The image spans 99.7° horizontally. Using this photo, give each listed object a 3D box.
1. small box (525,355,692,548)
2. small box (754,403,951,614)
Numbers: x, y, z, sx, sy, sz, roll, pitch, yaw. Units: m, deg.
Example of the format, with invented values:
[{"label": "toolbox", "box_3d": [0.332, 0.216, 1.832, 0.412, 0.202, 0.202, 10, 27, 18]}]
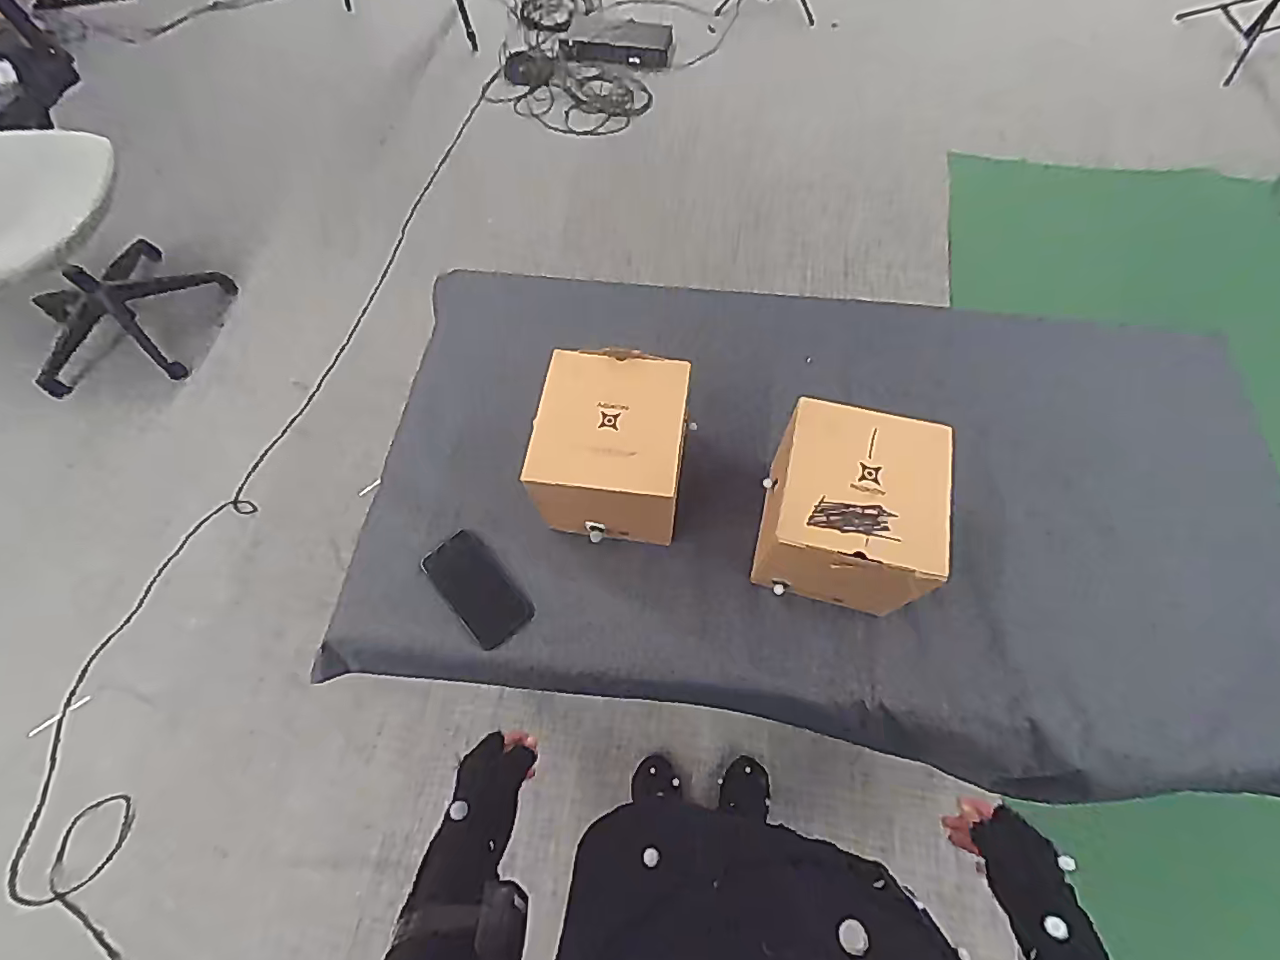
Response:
[{"label": "small box", "box_3d": [-0.028, -0.030, 0.674, 0.168, 0.176, 0.179, 5, 66, 6]}, {"label": "small box", "box_3d": [0.235, 0.042, 0.629, 0.168, 0.176, 0.179, 13, 65, 8]}]
